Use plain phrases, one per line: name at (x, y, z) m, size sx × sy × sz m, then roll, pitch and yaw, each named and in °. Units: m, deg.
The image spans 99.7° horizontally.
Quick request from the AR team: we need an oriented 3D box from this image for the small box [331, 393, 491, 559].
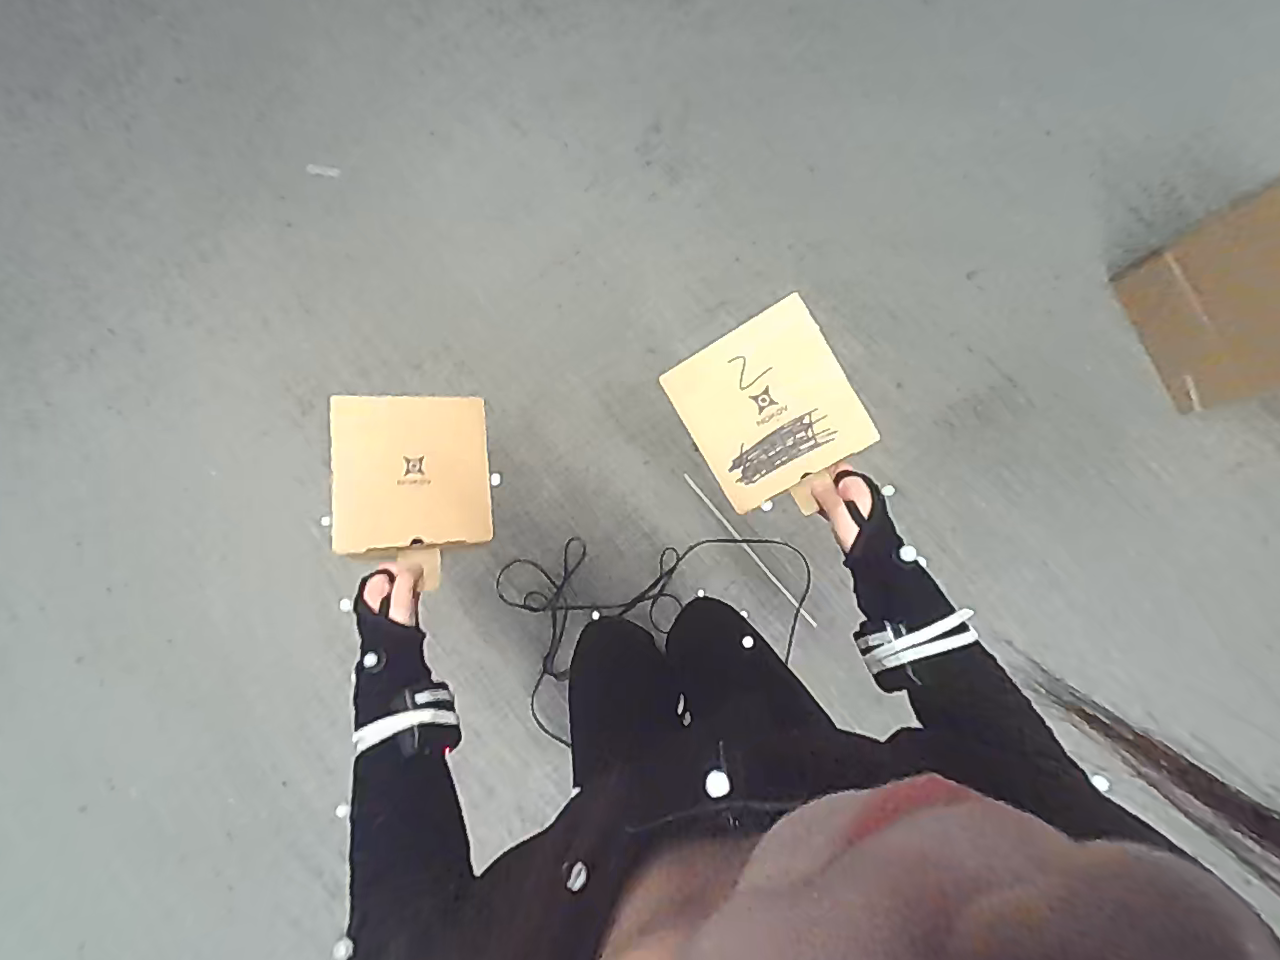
small box at (-0.284, 0.002, 0.679) m, size 0.168 × 0.176 × 0.179 m, roll -2°, pitch 81°, yaw -22°
